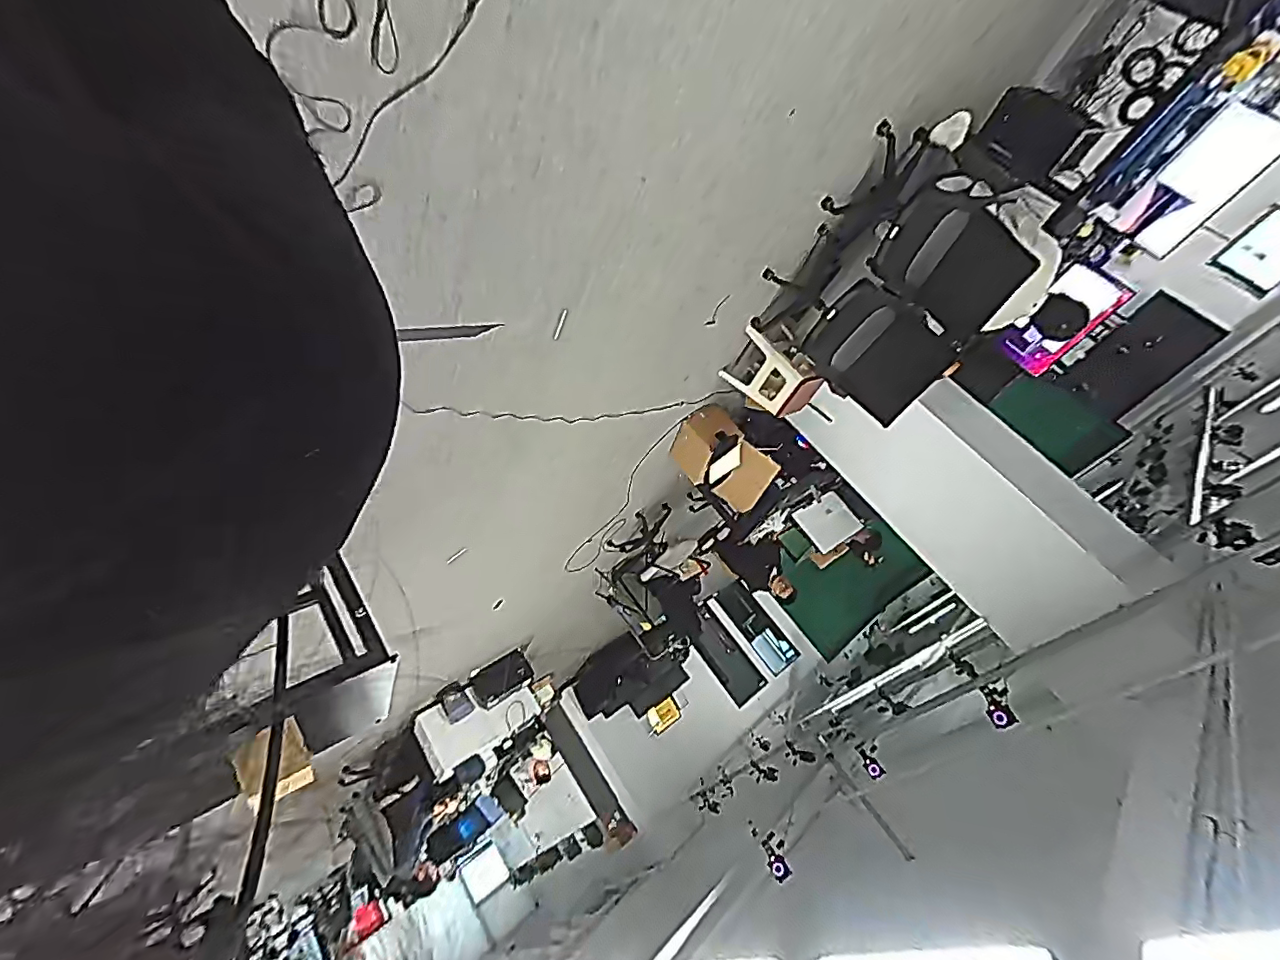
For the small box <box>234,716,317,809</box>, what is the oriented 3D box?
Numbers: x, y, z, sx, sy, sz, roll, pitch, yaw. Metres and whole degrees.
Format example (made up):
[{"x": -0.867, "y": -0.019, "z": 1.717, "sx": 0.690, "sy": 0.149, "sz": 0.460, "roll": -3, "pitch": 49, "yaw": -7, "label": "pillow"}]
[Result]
[{"x": -1.098, "y": 0.845, "z": 1.631, "sx": 0.168, "sy": 0.176, "sz": 0.179, "roll": -20, "pitch": 153, "yaw": -40, "label": "small box"}]
